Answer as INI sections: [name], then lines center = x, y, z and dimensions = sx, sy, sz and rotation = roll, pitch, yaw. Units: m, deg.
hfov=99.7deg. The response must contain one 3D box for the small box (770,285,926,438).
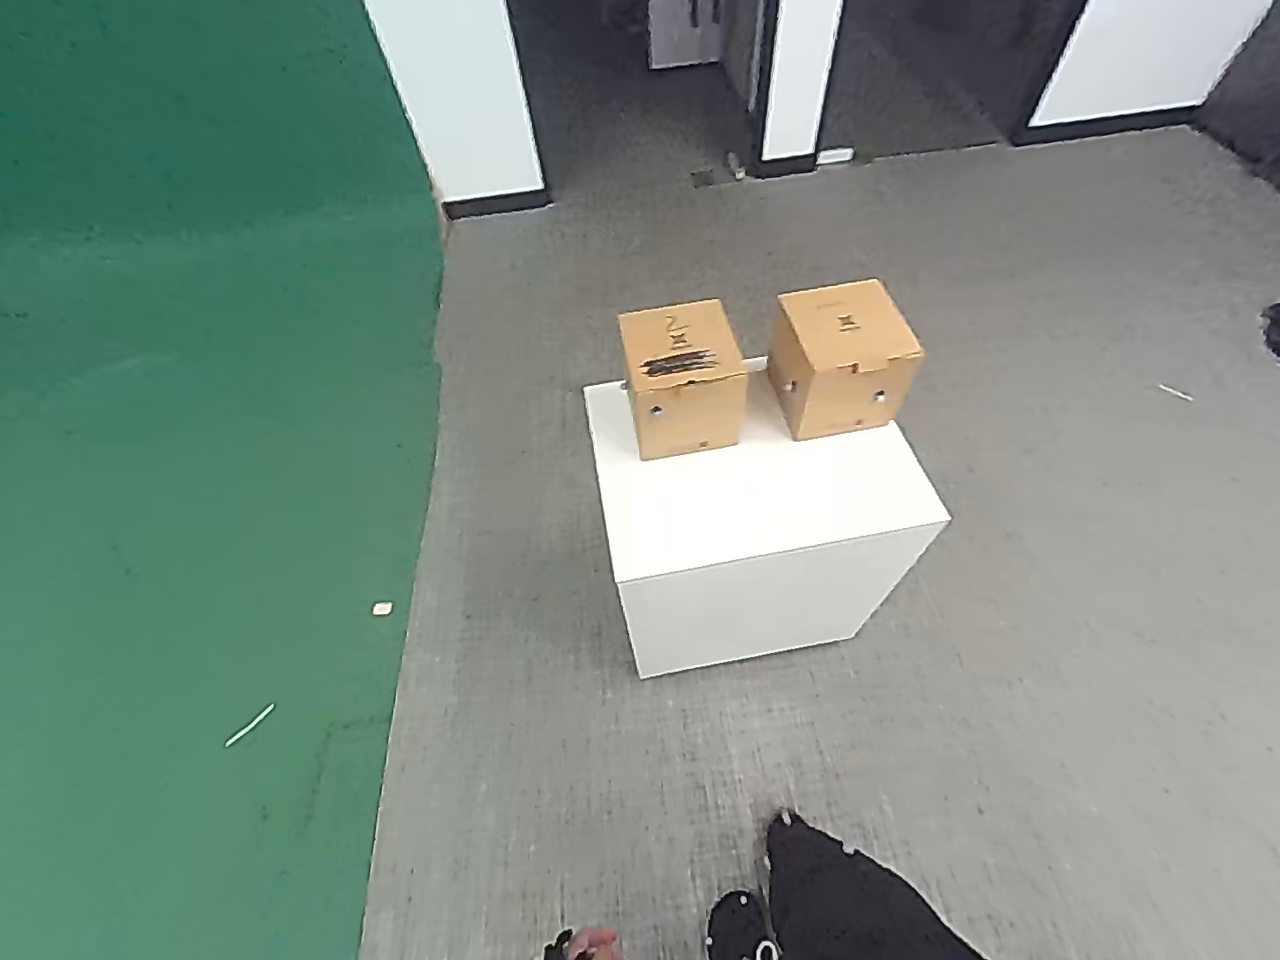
[small box]
center = 0.323, -0.184, 0.880
dimensions = 0.168, 0.176, 0.179
rotation = -9, 55, -3
